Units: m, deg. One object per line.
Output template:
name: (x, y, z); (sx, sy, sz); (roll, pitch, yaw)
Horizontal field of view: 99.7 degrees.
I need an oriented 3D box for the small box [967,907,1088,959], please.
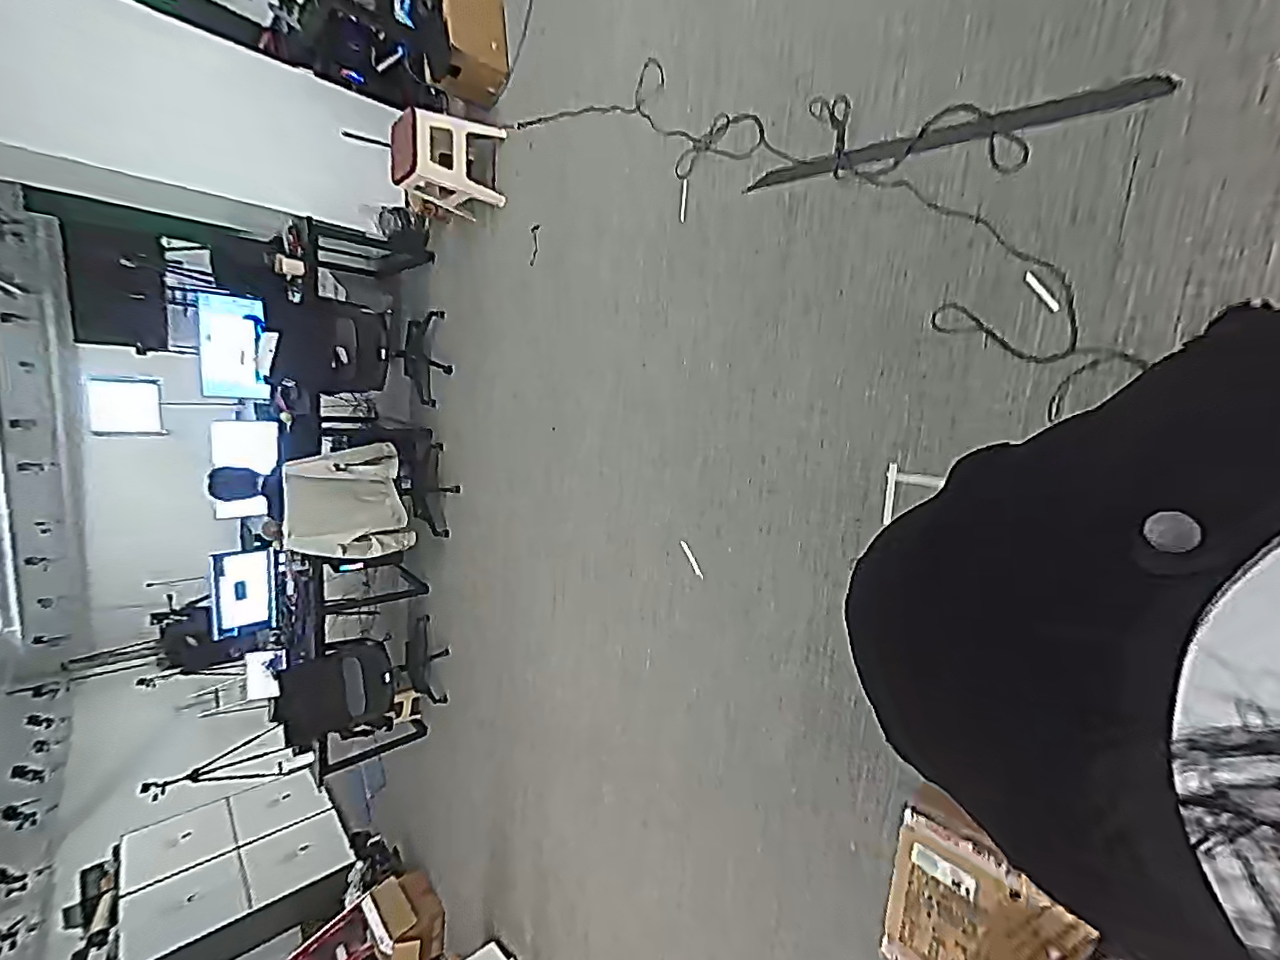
small box: (0.600, 0.824, 0.825); (0.168, 0.176, 0.179); (12, 98, 45)
